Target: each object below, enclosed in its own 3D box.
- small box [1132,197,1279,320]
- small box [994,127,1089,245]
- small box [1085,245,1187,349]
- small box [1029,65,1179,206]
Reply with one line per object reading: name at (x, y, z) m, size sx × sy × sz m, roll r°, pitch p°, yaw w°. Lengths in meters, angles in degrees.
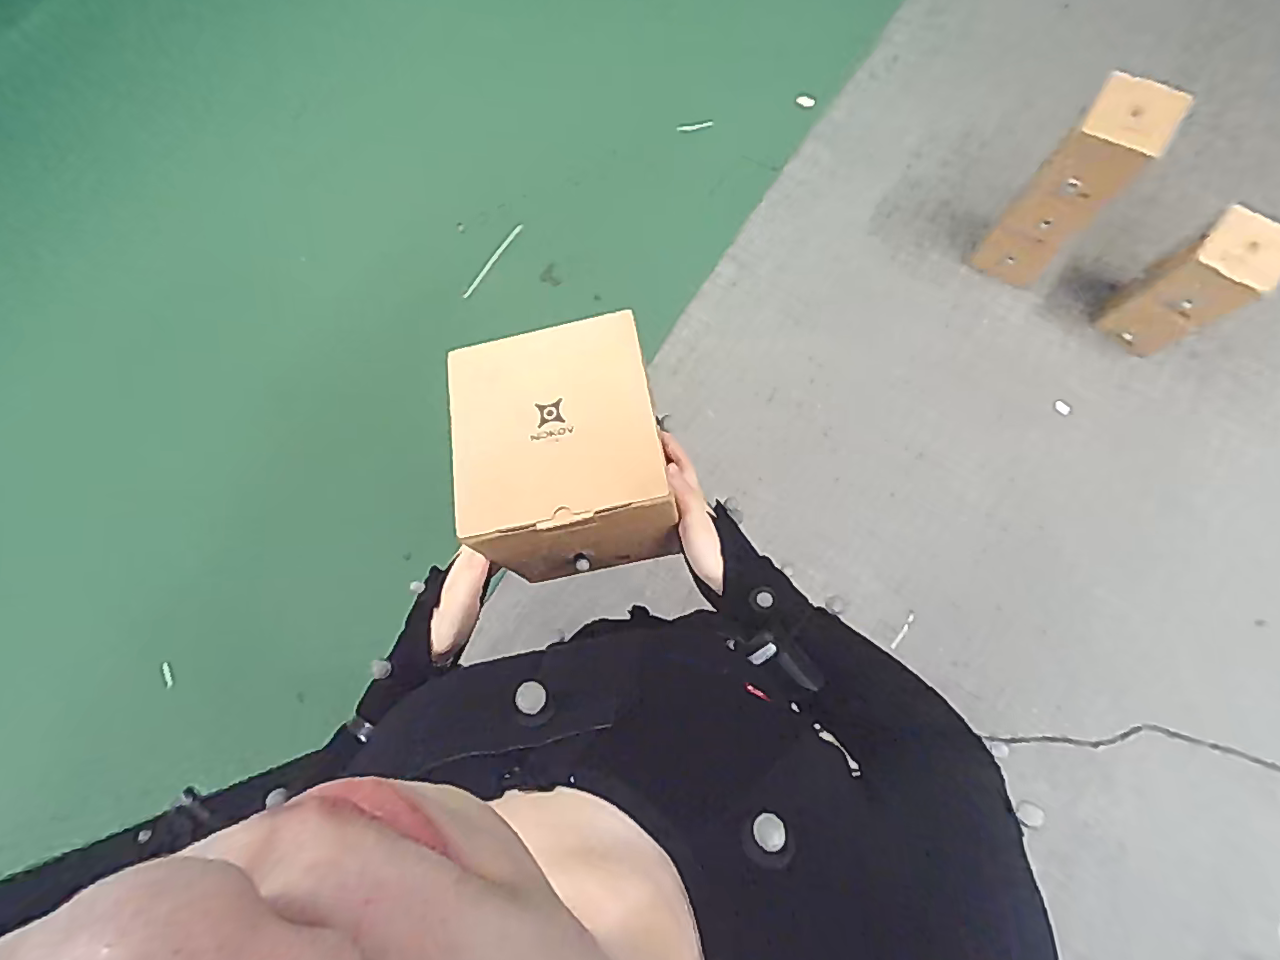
small box at (1.360, -0.527, 1.303) m, size 0.168 × 0.176 × 0.179 m, roll 37°, pitch 84°, yaw 12°
small box at (1.048, -0.741, 1.380) m, size 0.168 × 0.176 × 0.179 m, roll 30°, pitch 83°, yaw 11°
small box at (1.373, -0.493, 1.464) m, size 0.168 × 0.176 × 0.179 m, roll 39°, pitch 86°, yaw 12°
small box at (1.032, -0.769, 1.220) m, size 0.168 × 0.176 × 0.179 m, roll 30°, pitch 83°, yaw 13°
